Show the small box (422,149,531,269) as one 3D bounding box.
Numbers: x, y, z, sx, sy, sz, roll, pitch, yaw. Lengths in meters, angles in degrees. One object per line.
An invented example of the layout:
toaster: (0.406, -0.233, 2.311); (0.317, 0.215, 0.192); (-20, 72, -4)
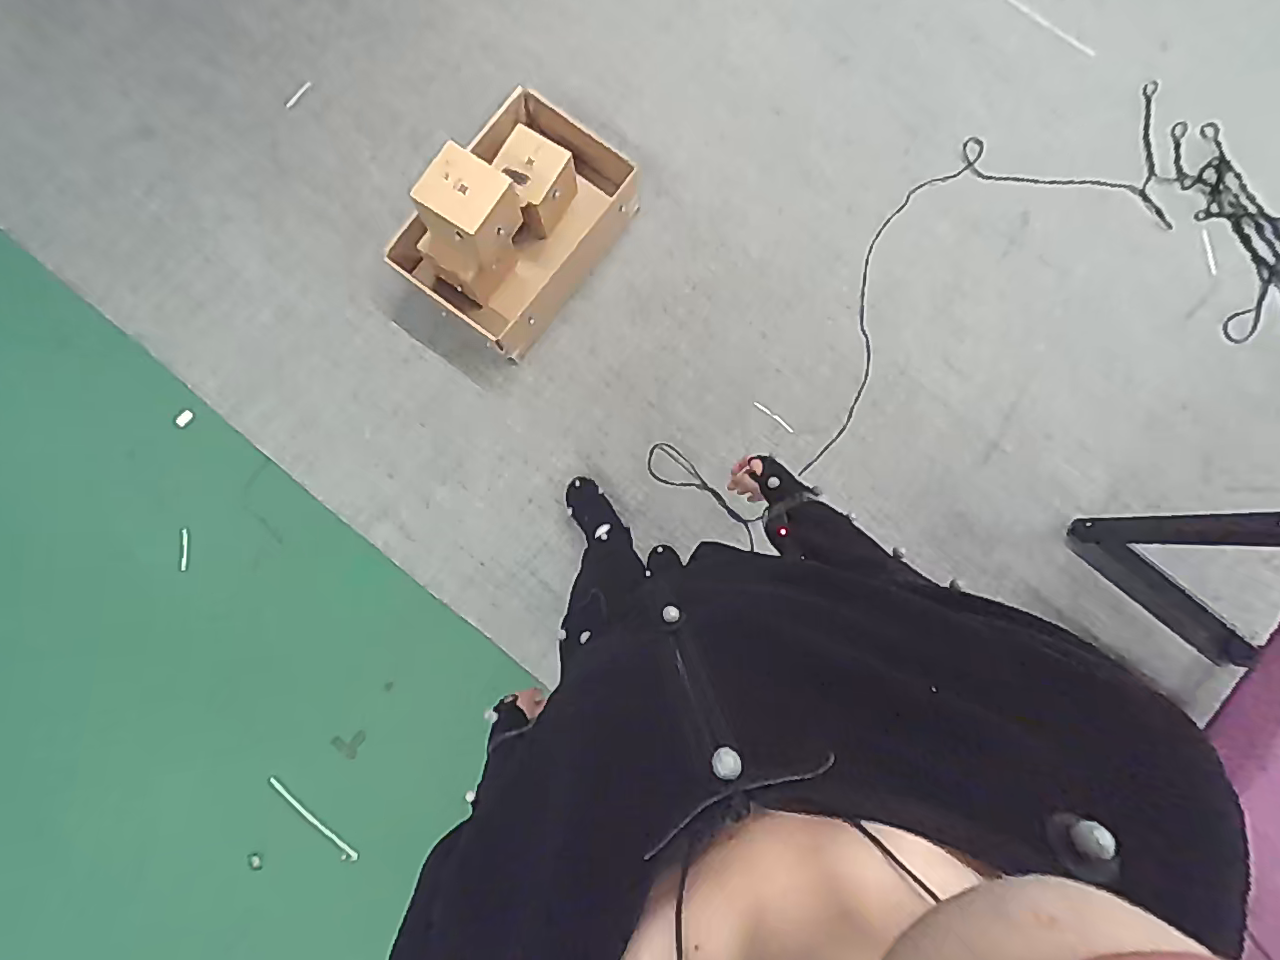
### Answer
small box: (-0.387, -0.649, 1.322); (0.179, 0.176, 0.168); (32, 83, 2)

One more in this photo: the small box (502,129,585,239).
small box: (-0.265, -0.809, 1.499); (0.168, 0.176, 0.179); (30, 86, 3)

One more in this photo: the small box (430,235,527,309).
small box: (-0.431, -0.604, 1.480); (0.168, 0.176, 0.179); (34, 84, 2)
